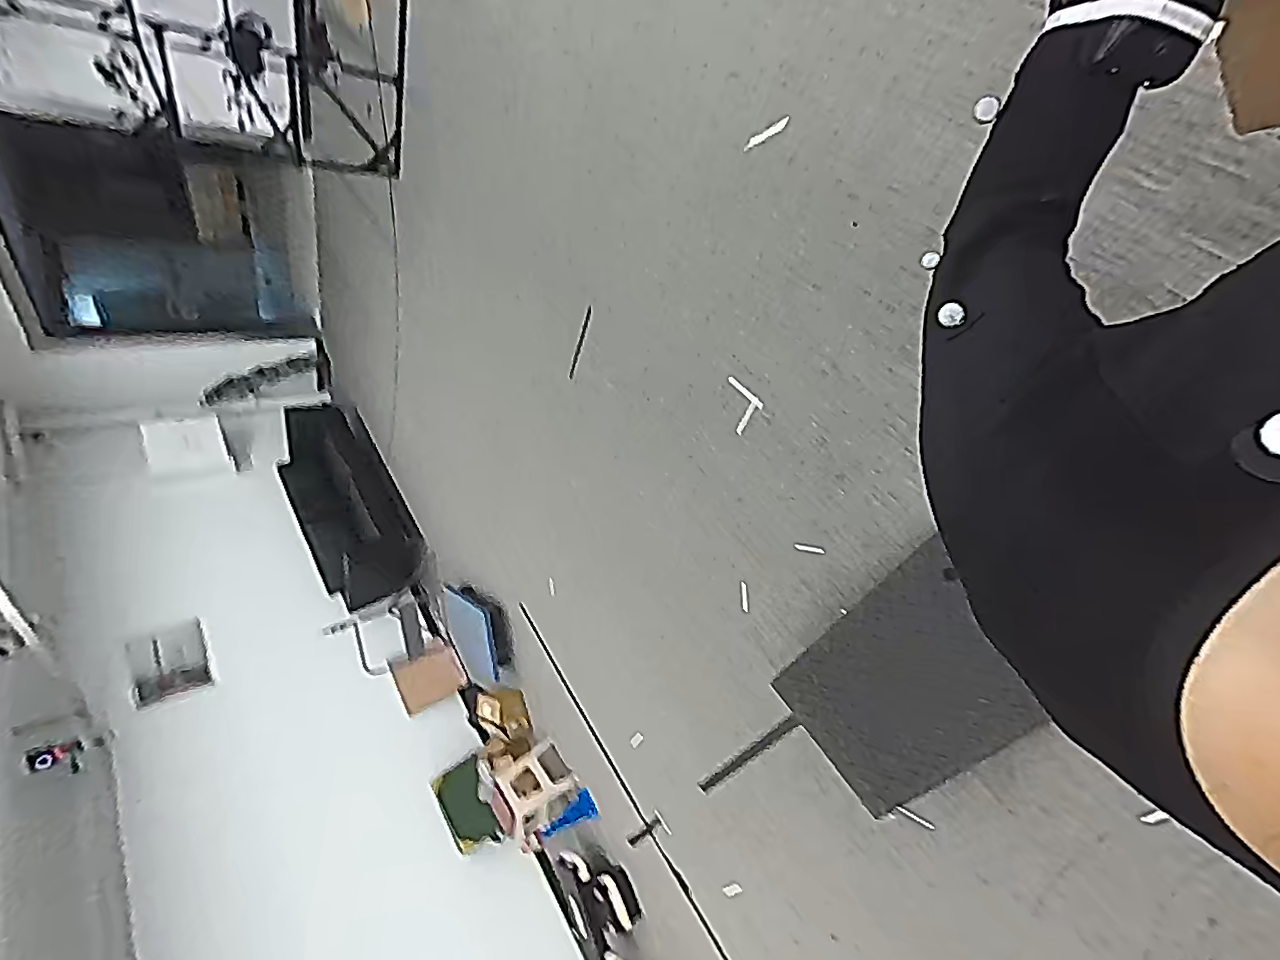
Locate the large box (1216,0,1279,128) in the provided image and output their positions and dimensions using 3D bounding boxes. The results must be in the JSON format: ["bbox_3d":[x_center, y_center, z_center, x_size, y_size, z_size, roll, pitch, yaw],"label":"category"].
[{"bbox_3d":[0.589,-0.434,0.247,0.408,0.320,0.320,16,108,48],"label":"large box"}]

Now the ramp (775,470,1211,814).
[{"bbox_3d":[0.822,0.484,1.484,0.509,0.206,0.991,51,136,30],"label":"ramp"}]
